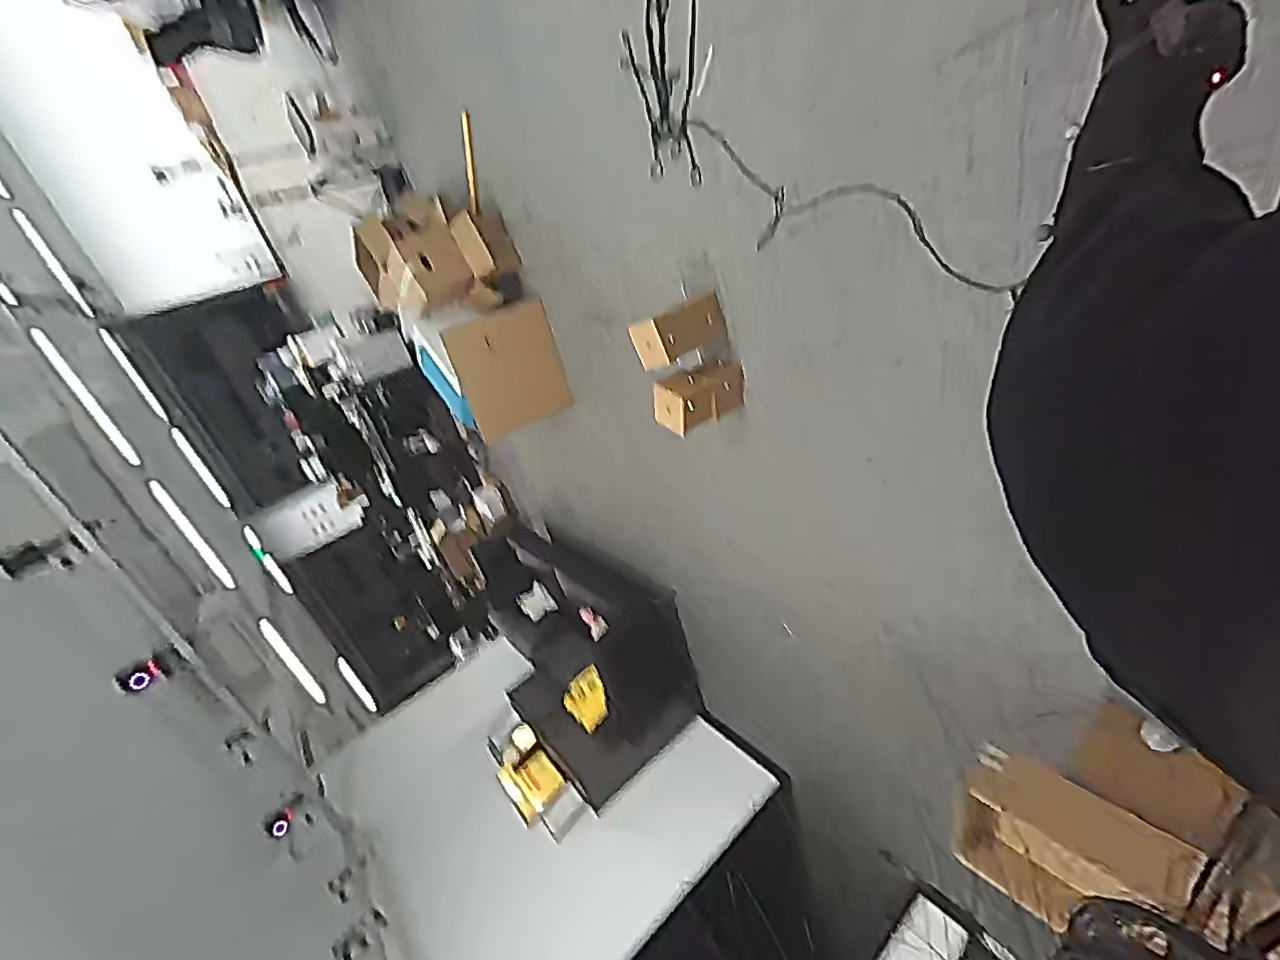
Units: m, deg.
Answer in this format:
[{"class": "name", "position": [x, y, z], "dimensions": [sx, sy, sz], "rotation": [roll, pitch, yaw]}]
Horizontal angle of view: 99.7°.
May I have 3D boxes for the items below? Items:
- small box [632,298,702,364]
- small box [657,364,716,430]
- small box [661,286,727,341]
[{"class": "small box", "position": [0.106, -0.557, 2.031], "dimensions": [0.168, 0.176, 0.179], "rotation": [5, 123, 56]}, {"class": "small box", "position": [0.186, -0.333, 2.140], "dimensions": [0.168, 0.176, 0.179], "rotation": [36, 145, 37]}, {"class": "small box", "position": [0.218, -0.644, 2.112], "dimensions": [0.179, 0.176, 0.168], "rotation": [13, 129, 55]}]
